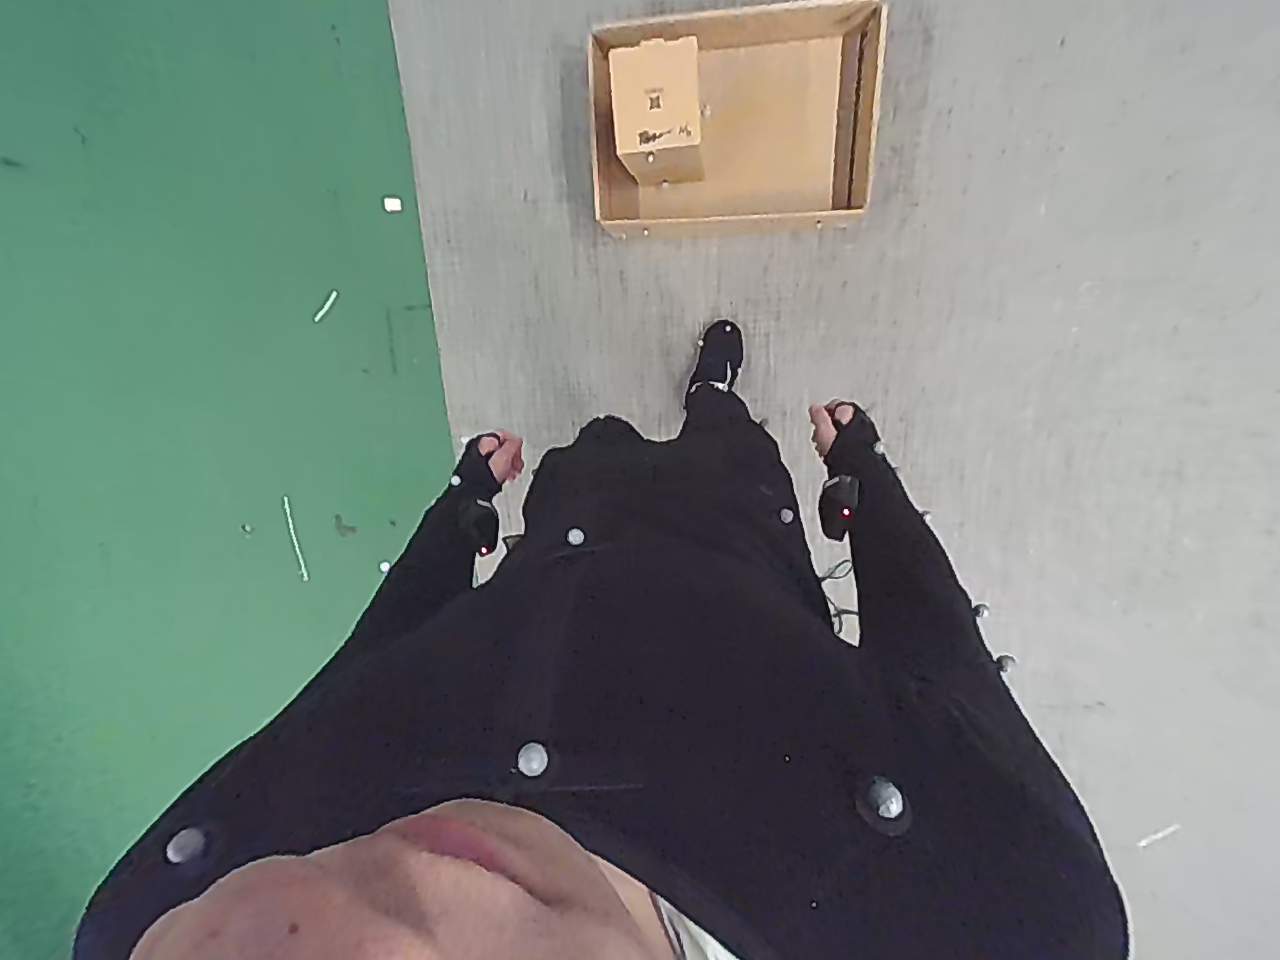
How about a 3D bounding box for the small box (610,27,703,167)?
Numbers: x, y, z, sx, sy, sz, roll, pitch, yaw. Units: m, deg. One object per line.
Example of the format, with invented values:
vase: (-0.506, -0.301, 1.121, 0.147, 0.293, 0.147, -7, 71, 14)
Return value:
small box: (0.039, -0.749, 1.076, 0.168, 0.176, 0.179, -1, 107, 9)
